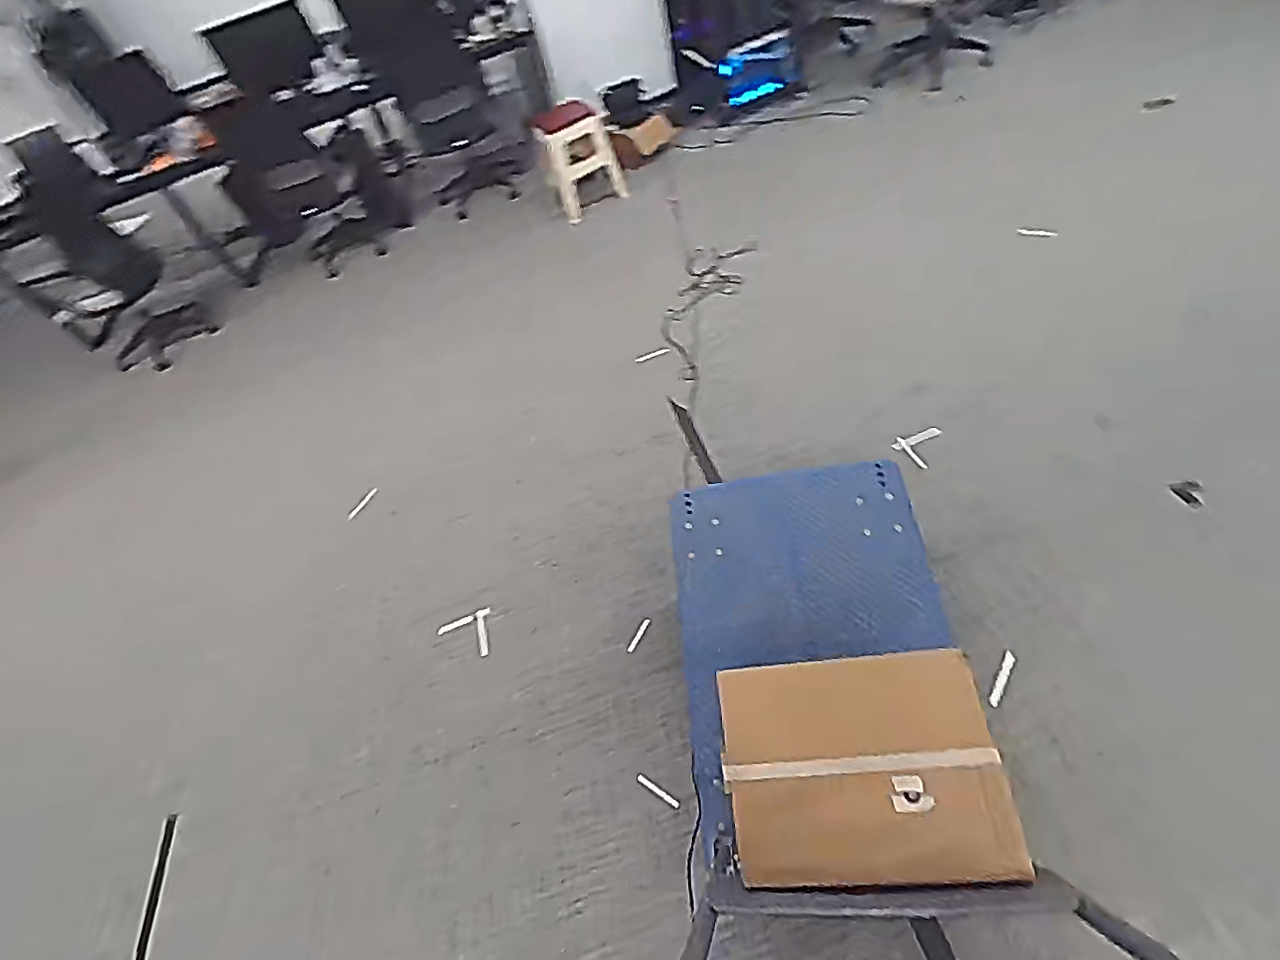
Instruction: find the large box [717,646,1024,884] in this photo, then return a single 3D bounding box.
[{"bbox_3d":[0.373,0.508,0.993,0.408,0.320,0.320,-10,64,9],"label":"large box"}]
